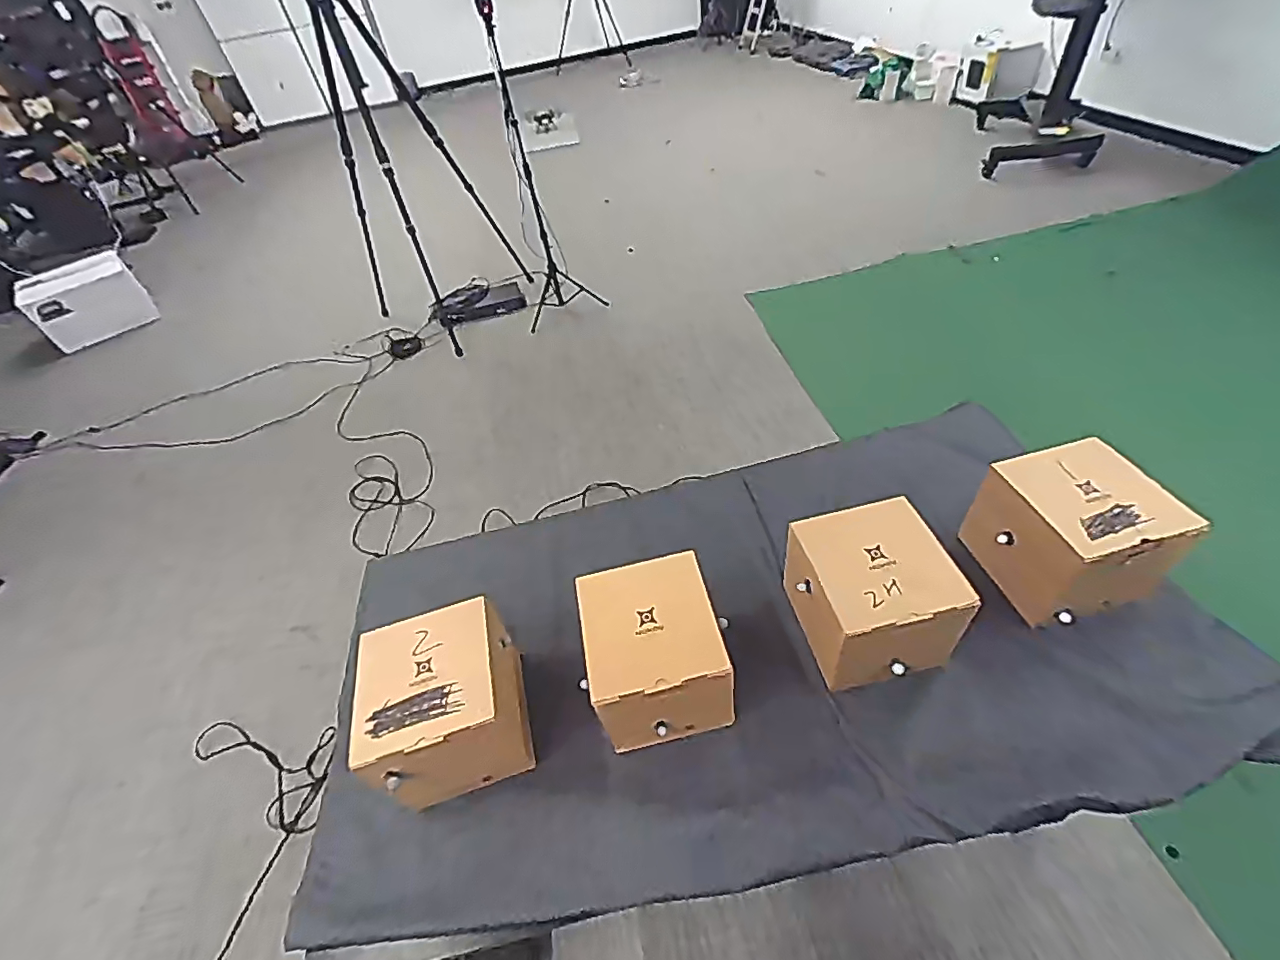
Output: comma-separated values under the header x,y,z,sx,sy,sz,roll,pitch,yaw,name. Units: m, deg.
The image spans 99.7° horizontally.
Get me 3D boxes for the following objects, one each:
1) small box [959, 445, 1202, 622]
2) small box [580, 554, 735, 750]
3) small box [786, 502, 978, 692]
x,y,z,sx,sy,sz,roll,pitch,yaw,name
0.598,0.082,0.766,0.168,0.176,0.179,-13,46,-3,small box
0.021,0.230,0.725,0.168,0.176,0.179,-13,47,-3,small box
0.310,0.160,0.741,0.168,0.176,0.179,-13,47,-2,small box
